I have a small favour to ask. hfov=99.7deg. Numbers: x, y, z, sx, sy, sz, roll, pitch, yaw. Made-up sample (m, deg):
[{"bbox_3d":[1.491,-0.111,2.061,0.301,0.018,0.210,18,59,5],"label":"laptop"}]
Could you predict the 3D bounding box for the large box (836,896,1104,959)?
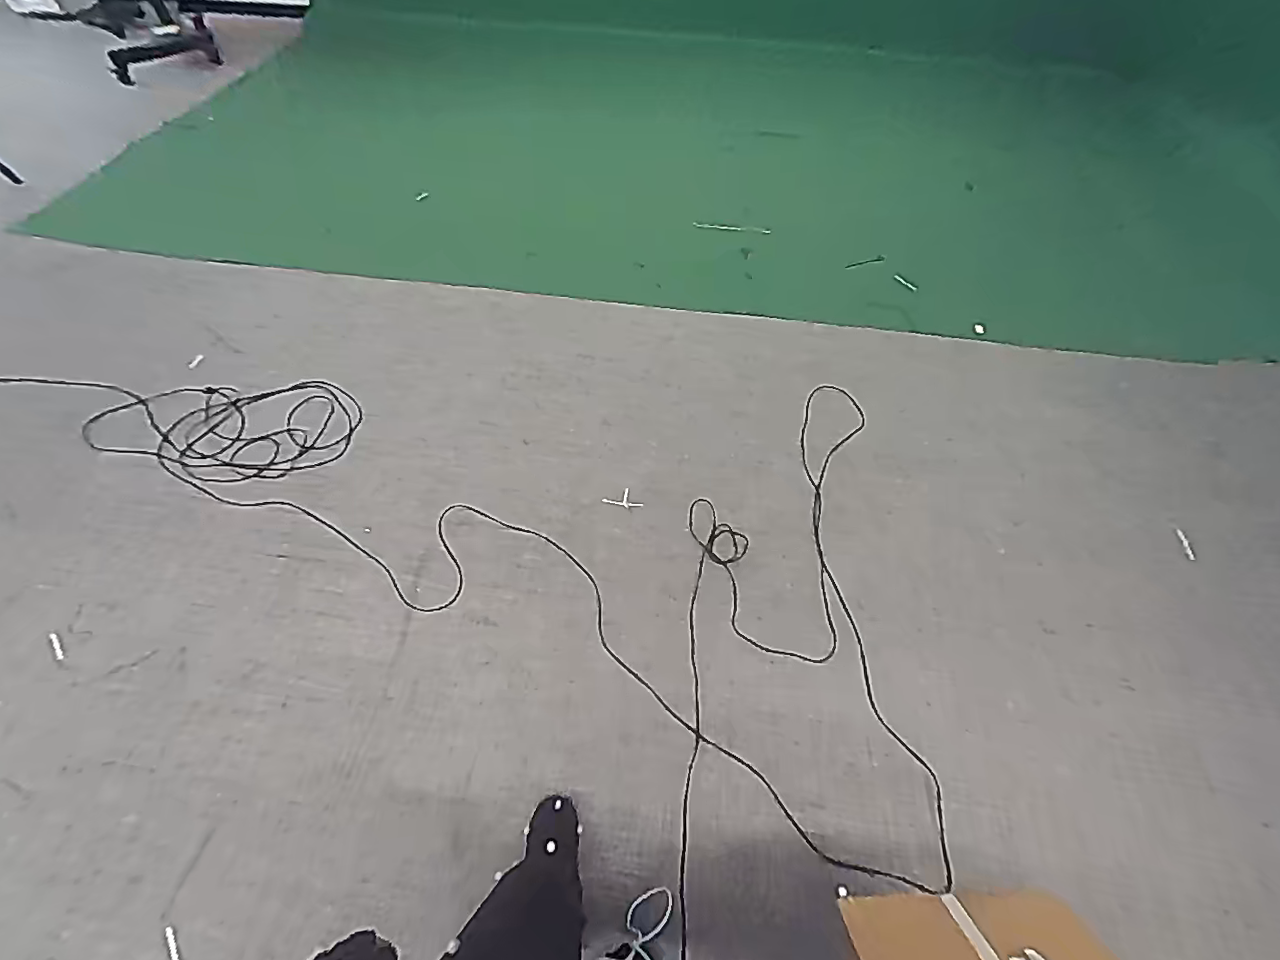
[{"bbox_3d":[0.446,0.767,0.598,0.320,0.408,0.320,-4,88,4],"label":"large box"}]
